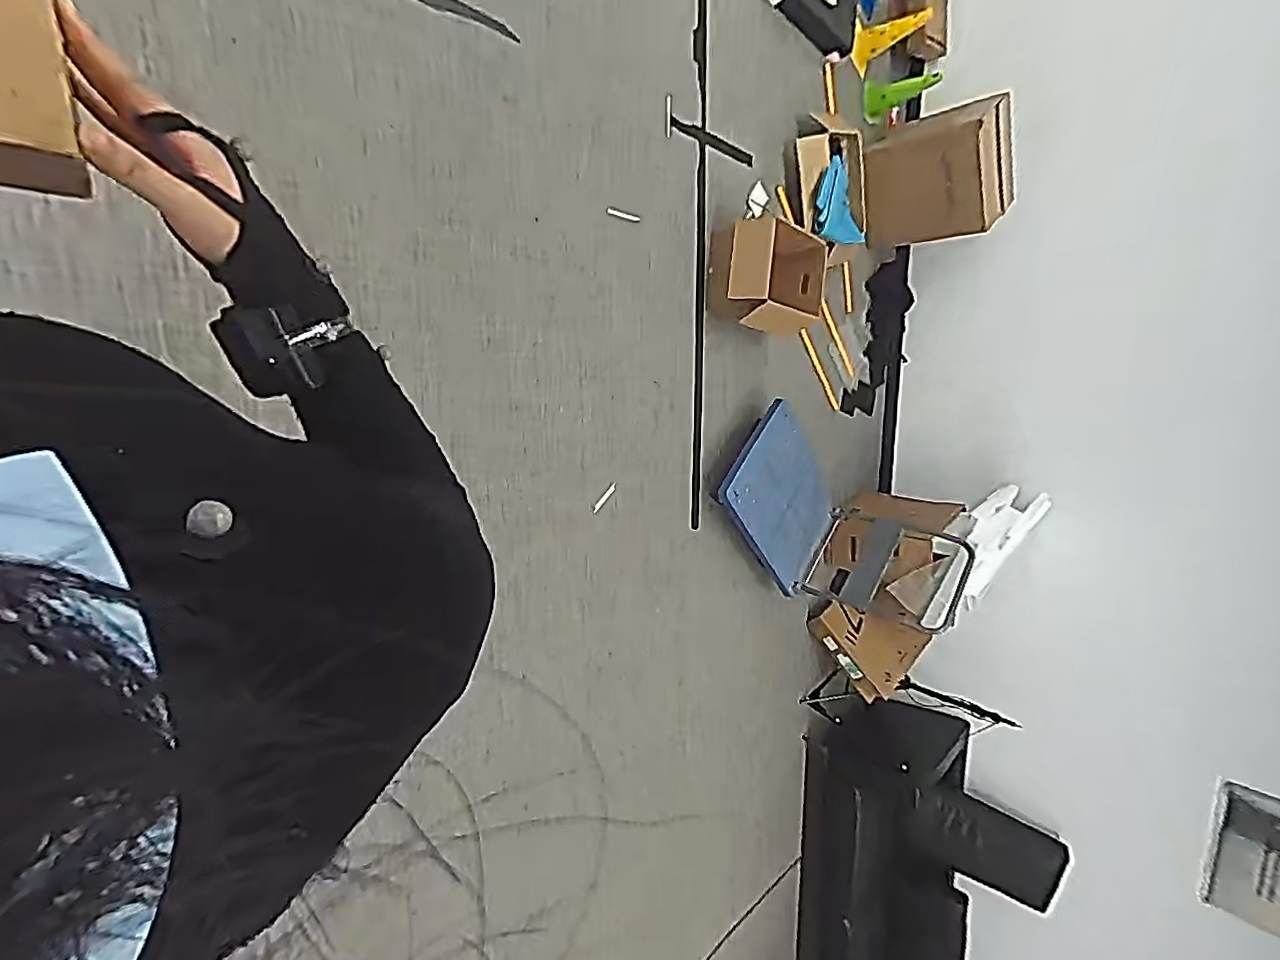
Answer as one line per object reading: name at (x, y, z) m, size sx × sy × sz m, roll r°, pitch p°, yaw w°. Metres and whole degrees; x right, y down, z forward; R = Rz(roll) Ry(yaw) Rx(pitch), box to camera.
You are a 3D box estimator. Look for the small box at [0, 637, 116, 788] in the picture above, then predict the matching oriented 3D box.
small box at (-1.118, 0.426, 1.016) m, size 0.168 × 0.176 × 0.179 m, roll -16°, pitch 108°, yaw -42°
